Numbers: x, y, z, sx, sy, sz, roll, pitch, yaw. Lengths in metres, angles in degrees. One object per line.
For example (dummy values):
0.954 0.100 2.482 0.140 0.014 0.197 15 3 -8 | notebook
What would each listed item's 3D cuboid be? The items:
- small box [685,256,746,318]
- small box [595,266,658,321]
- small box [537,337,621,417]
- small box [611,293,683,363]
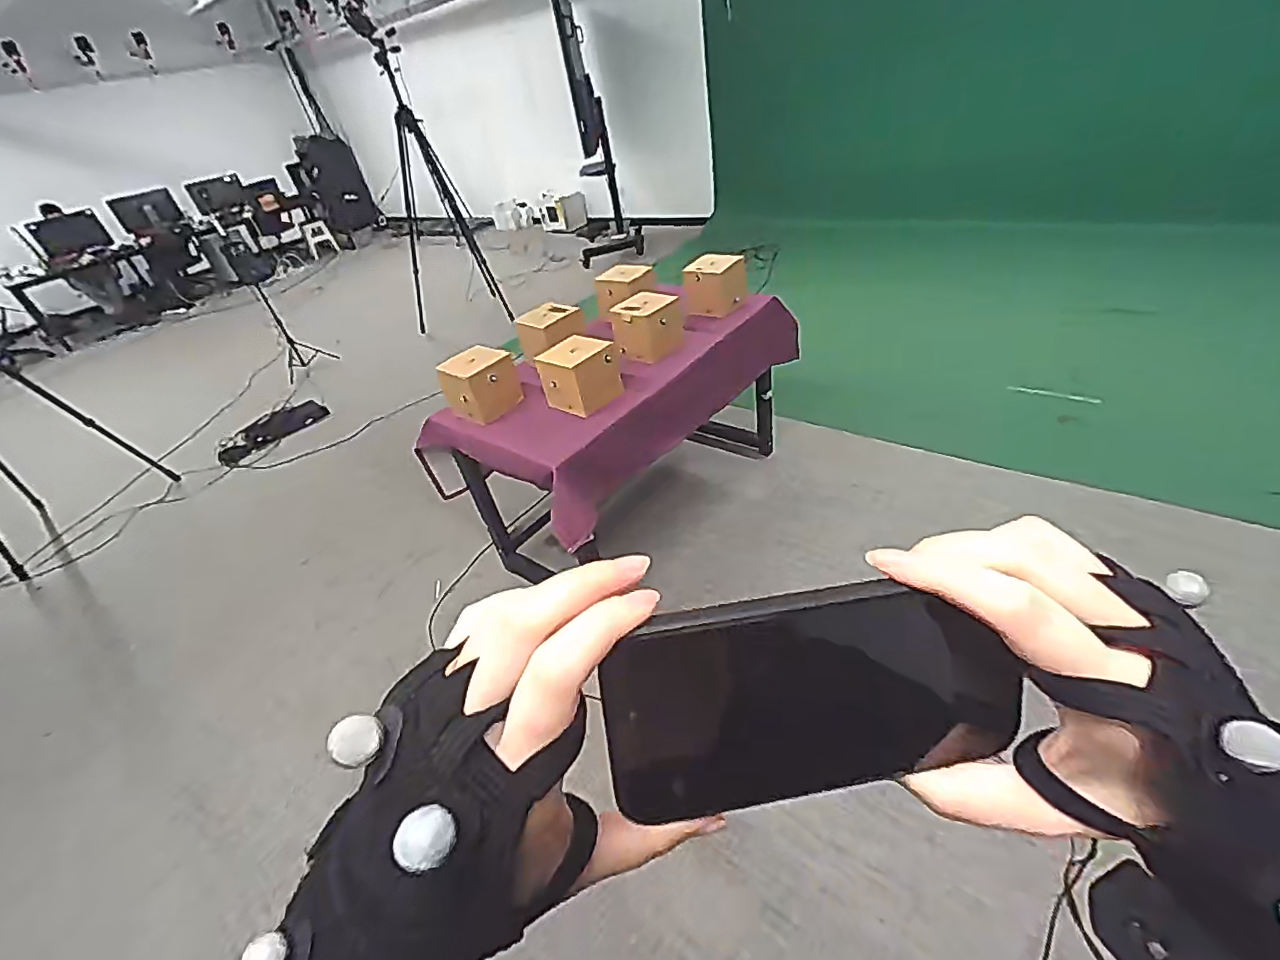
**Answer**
0.288 -0.727 2.033 0.168 0.176 0.179 19 47 35 | small box
-0.047 -0.724 2.119 0.179 0.176 0.168 18 47 33 | small box
-0.175 -0.311 1.628 0.168 0.176 0.179 21 47 36 | small box
0.031 -0.513 1.830 0.168 0.176 0.179 23 49 37 | small box
